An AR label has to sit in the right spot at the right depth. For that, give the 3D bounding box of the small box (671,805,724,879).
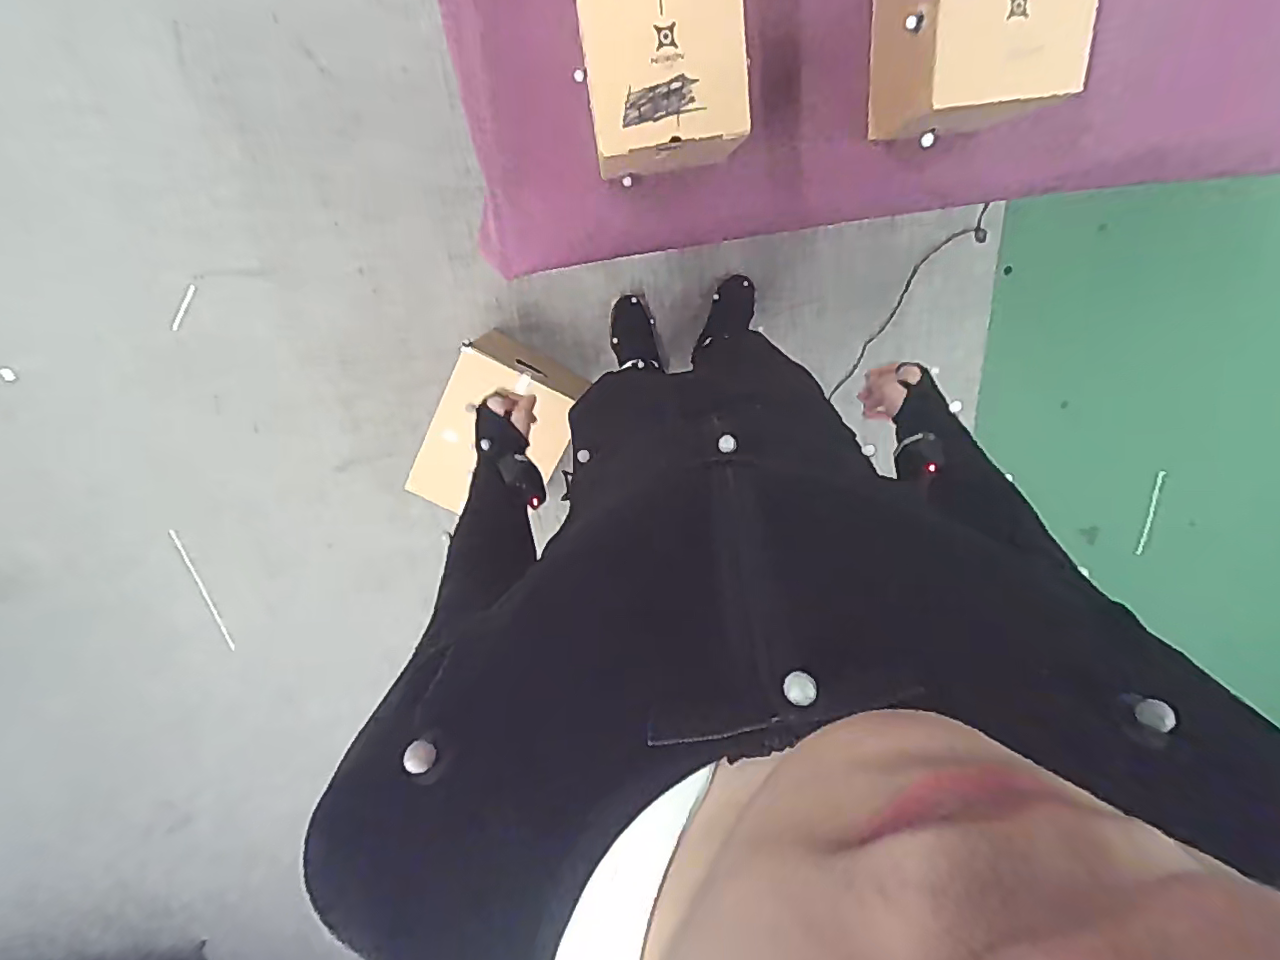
[{"bbox_3d":[0.221,1.418,2.124,0.179,0.176,0.168,-10,112,1],"label":"small box"}]

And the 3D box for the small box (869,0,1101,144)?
[{"bbox_3d":[0.379,-0.509,0.618,0.168,0.176,0.179,-5,112,0],"label":"small box"}]

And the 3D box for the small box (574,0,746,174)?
[{"bbox_3d":[0.020,-0.463,0.616,0.168,0.176,0.179,-8,110,0],"label":"small box"}]
